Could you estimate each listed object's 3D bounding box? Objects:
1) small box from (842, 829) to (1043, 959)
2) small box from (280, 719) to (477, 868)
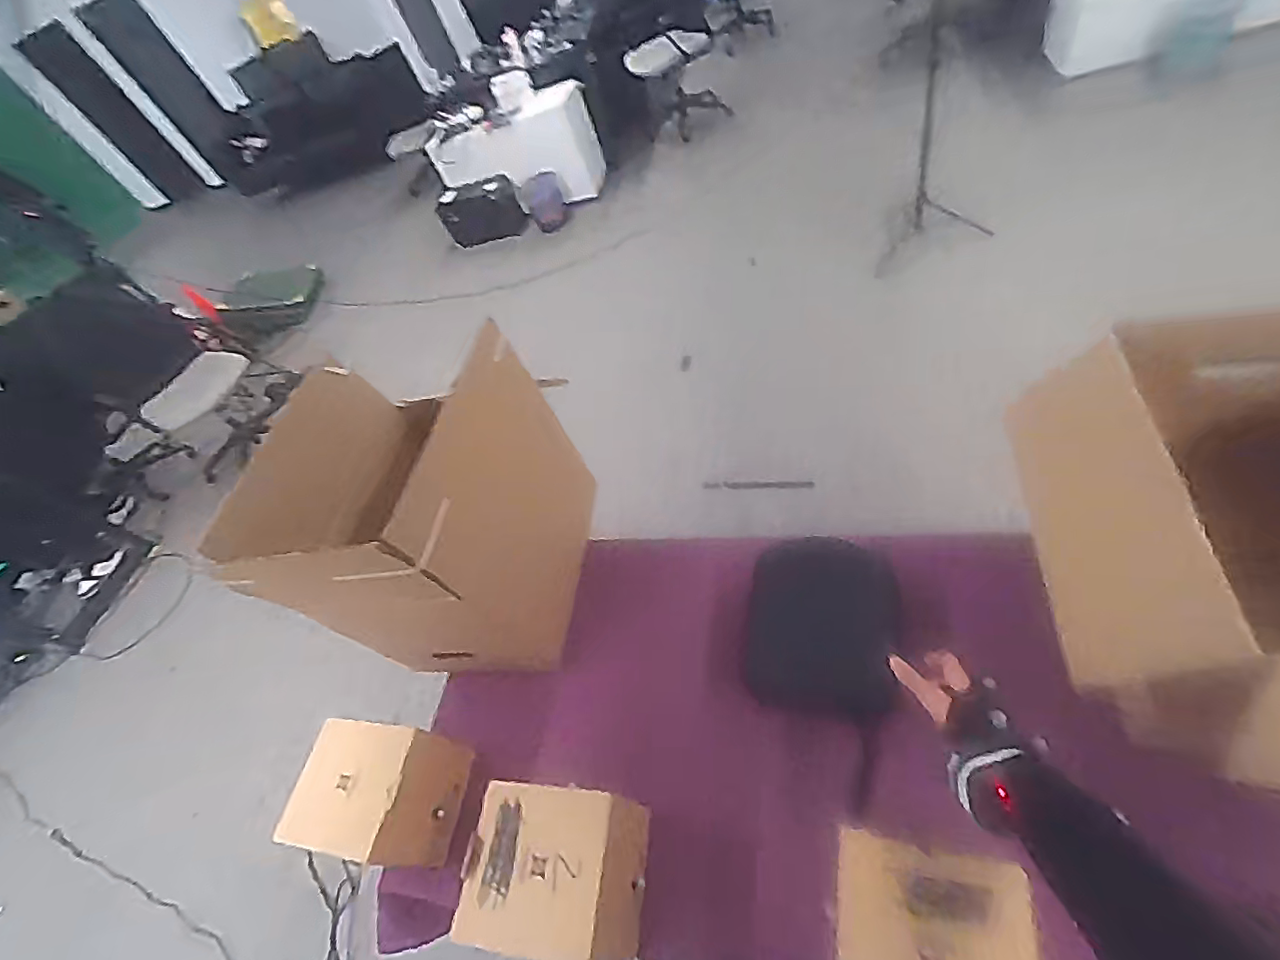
[{"bbox_3d":[0.295,0.482,0.548,0.168,0.176,0.179,0,54,23],"label":"small box"},{"bbox_3d":[-0.386,0.482,0.830,0.179,0.176,0.168,-3,53,19],"label":"small box"}]
